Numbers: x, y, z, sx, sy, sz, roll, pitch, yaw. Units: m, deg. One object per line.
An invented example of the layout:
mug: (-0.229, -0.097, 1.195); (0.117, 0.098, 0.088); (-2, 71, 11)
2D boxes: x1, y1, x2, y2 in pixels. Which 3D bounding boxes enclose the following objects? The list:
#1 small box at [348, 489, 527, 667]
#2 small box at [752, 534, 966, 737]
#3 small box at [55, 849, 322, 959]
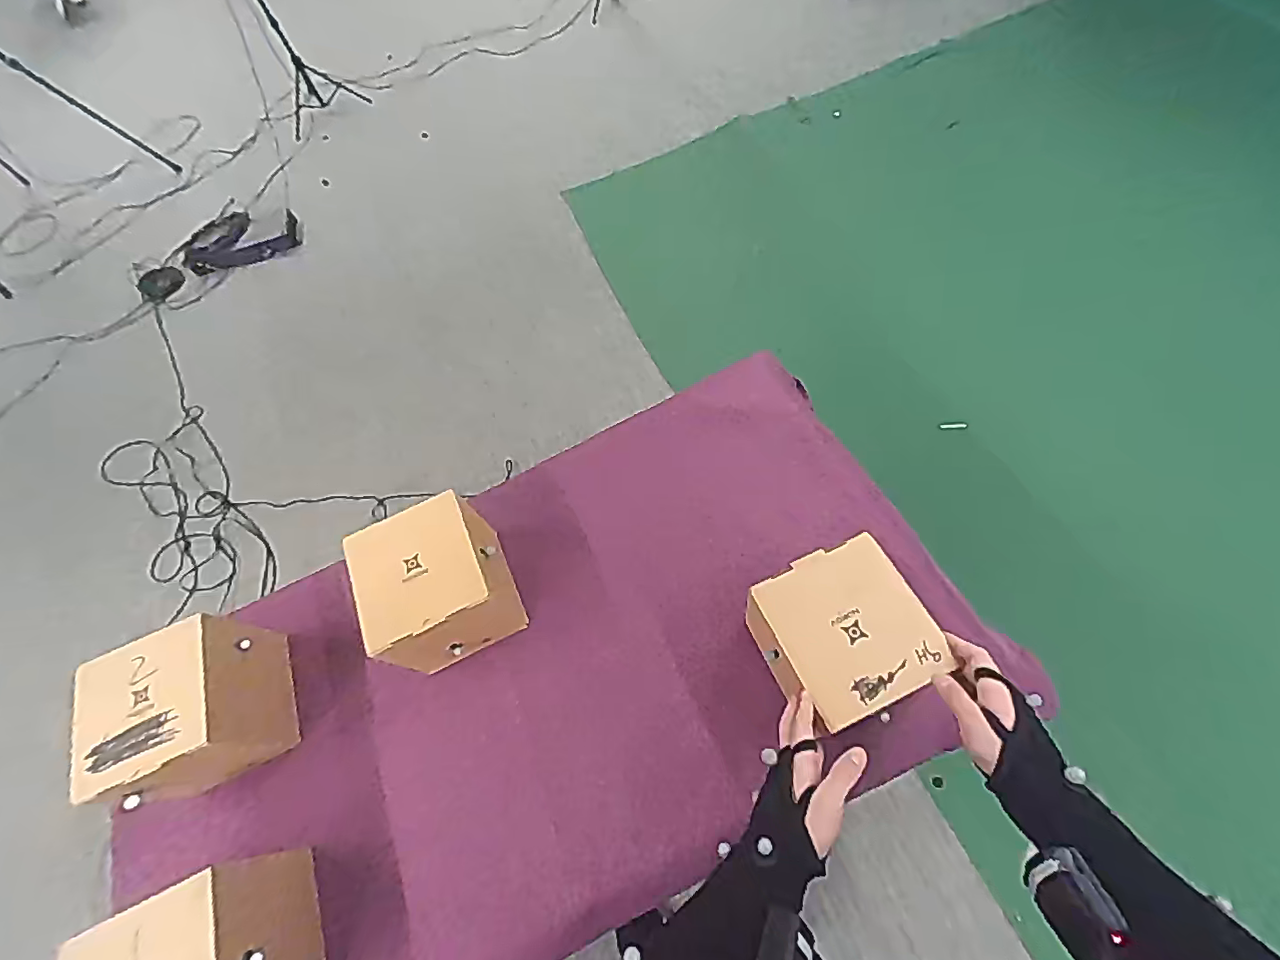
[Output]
small box: (-0.284, 0.147, 0.780); (0.168, 0.176, 0.179); (-25, 64, -6)
small box: (0.252, 0.201, 0.679); (0.168, 0.176, 0.179); (-24, 62, -4)
small box: (-0.485, 0.547, 0.599); (0.168, 0.176, 0.179); (-25, 62, -6)
